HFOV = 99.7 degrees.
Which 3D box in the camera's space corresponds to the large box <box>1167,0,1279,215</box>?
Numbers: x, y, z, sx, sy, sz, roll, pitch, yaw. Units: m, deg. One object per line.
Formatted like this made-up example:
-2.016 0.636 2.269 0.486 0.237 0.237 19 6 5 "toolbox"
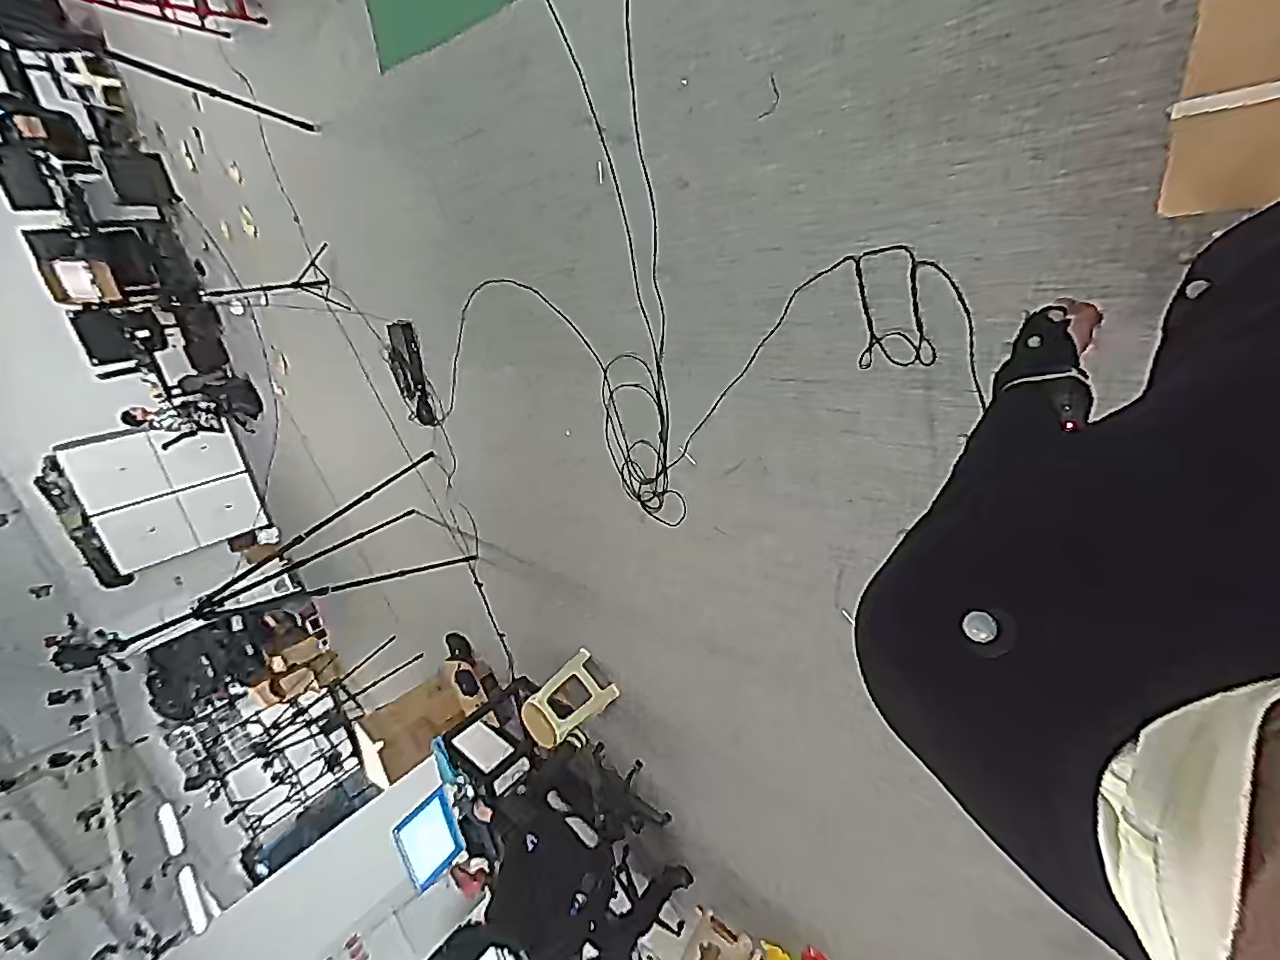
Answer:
1.092 -0.602 0.810 0.408 0.320 0.320 11 118 41 "large box"
